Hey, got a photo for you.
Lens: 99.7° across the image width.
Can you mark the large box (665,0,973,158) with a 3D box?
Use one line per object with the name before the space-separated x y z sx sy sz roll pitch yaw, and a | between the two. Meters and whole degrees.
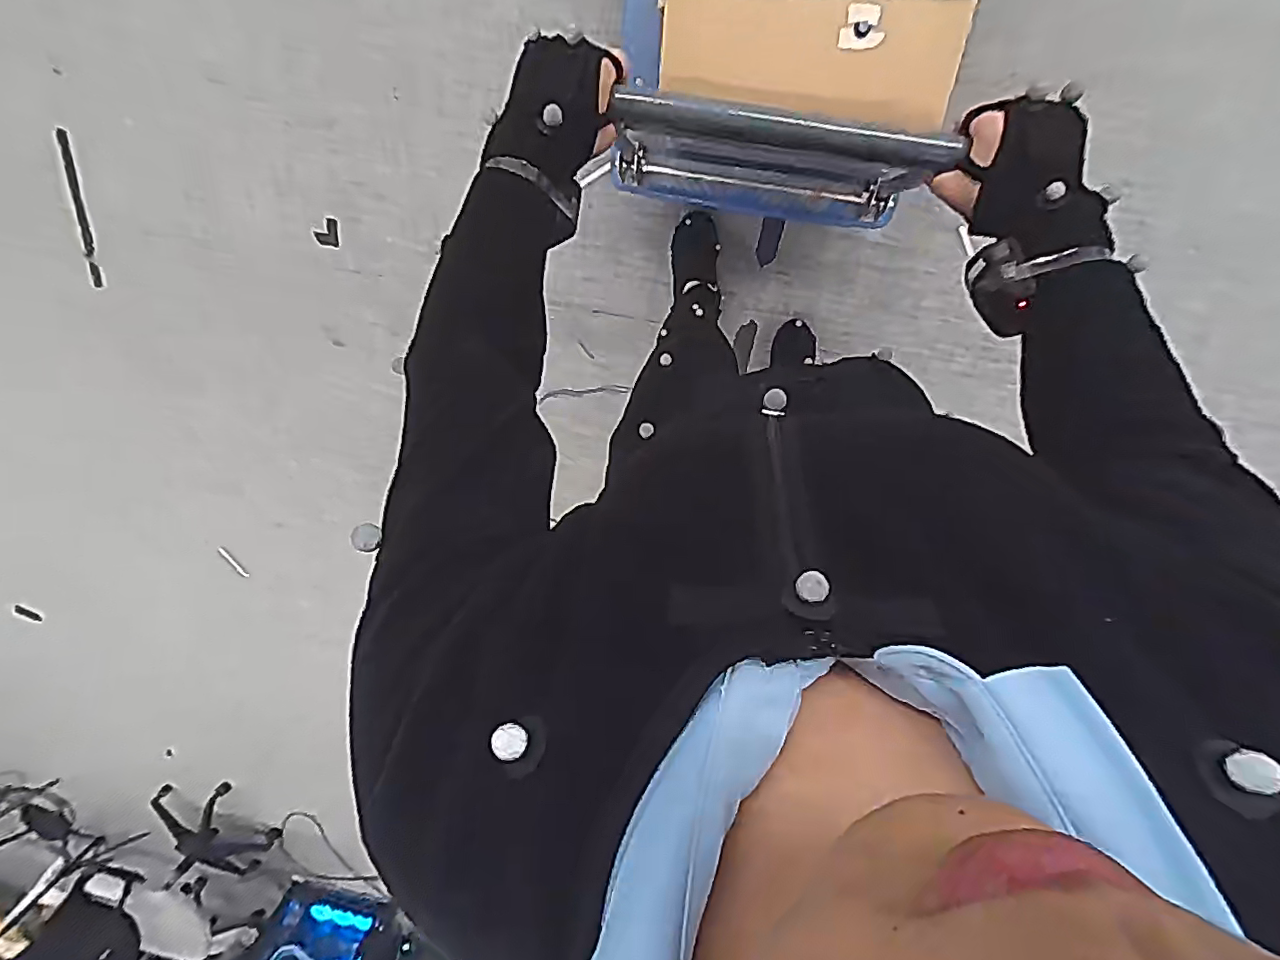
large box | 0.256 -0.713 0.857 0.408 0.320 0.320 6 116 4
